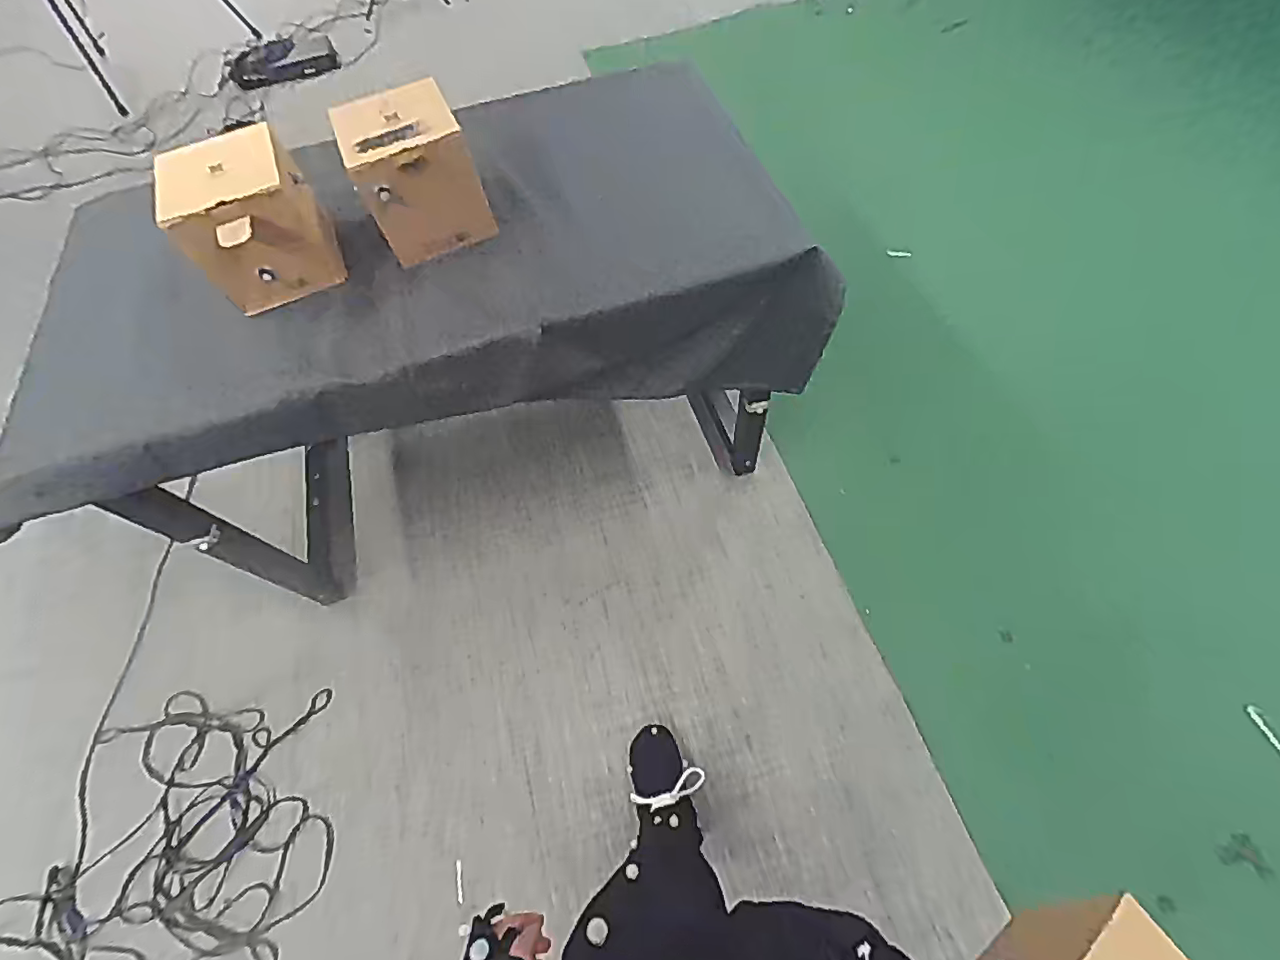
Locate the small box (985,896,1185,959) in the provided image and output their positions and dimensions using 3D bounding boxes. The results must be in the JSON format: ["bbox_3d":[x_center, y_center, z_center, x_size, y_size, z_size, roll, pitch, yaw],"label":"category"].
[{"bbox_3d":[0.451,0.557,0.525,0.179,0.176,0.168,-15,53,-31],"label":"small box"}]

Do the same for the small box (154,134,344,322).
[{"bbox_3d":[-0.585,-0.378,0.822,0.168,0.176,0.179,-25,63,-8],"label":"small box"}]
